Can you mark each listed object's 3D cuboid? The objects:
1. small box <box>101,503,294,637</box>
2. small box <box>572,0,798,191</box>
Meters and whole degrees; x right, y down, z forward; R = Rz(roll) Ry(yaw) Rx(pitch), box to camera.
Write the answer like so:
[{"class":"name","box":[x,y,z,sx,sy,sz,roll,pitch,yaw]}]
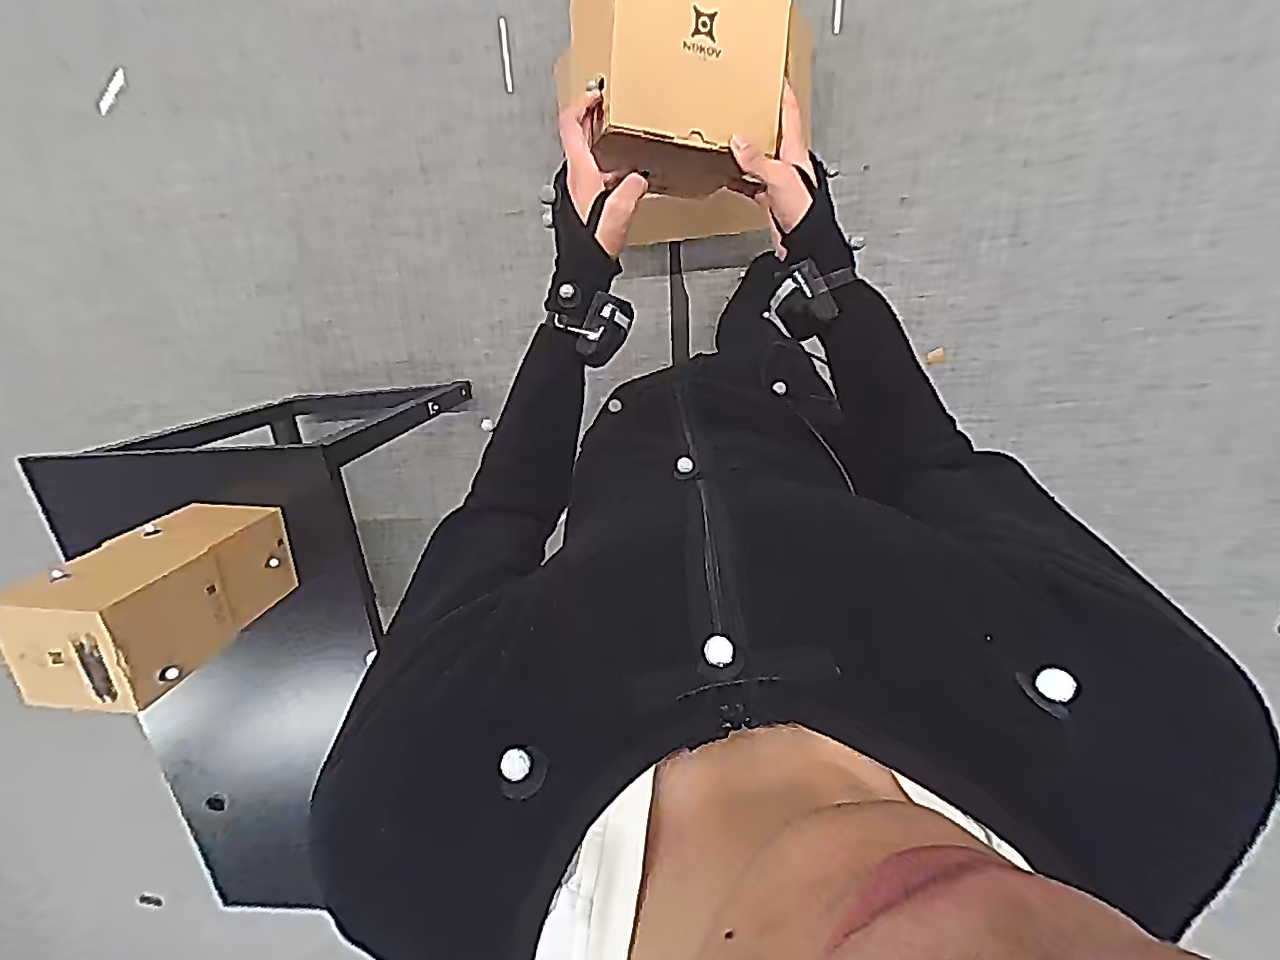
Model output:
[{"class":"small box","box":[-0.748,0.147,0.935,0.179,0.176,0.168,3,111,4]},{"class":"small box","box":[0.031,-0.404,0.523,0.168,0.176,0.179,-2,105,-19]}]
